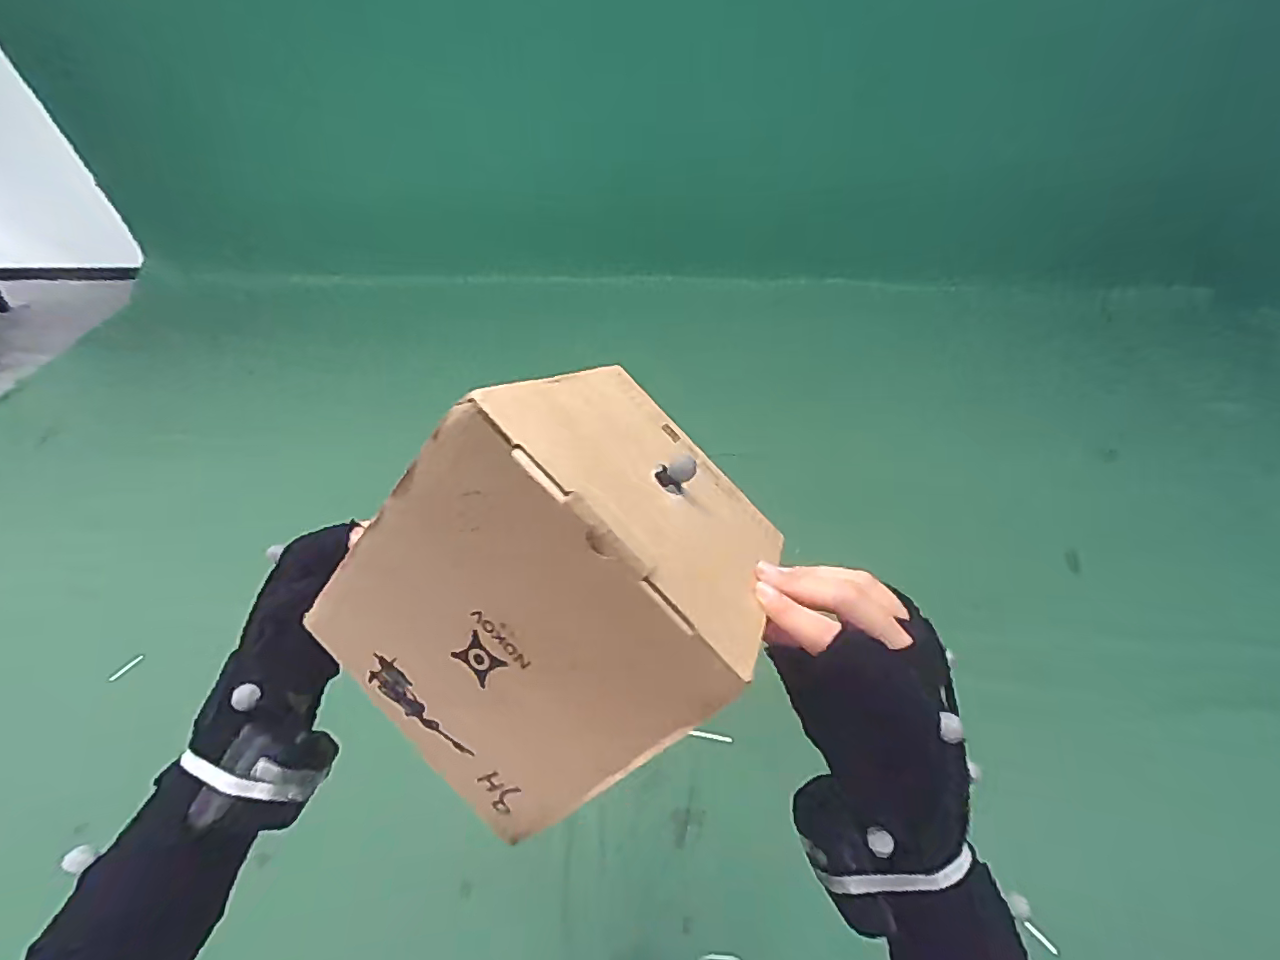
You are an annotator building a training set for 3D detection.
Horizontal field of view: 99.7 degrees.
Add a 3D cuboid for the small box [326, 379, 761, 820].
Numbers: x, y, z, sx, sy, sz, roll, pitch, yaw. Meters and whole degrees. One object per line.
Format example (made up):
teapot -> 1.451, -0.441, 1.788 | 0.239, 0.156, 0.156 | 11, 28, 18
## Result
small box -> -0.041, 0.055, 0.339 | 0.168, 0.179, 0.176 | 47, 25, 3
